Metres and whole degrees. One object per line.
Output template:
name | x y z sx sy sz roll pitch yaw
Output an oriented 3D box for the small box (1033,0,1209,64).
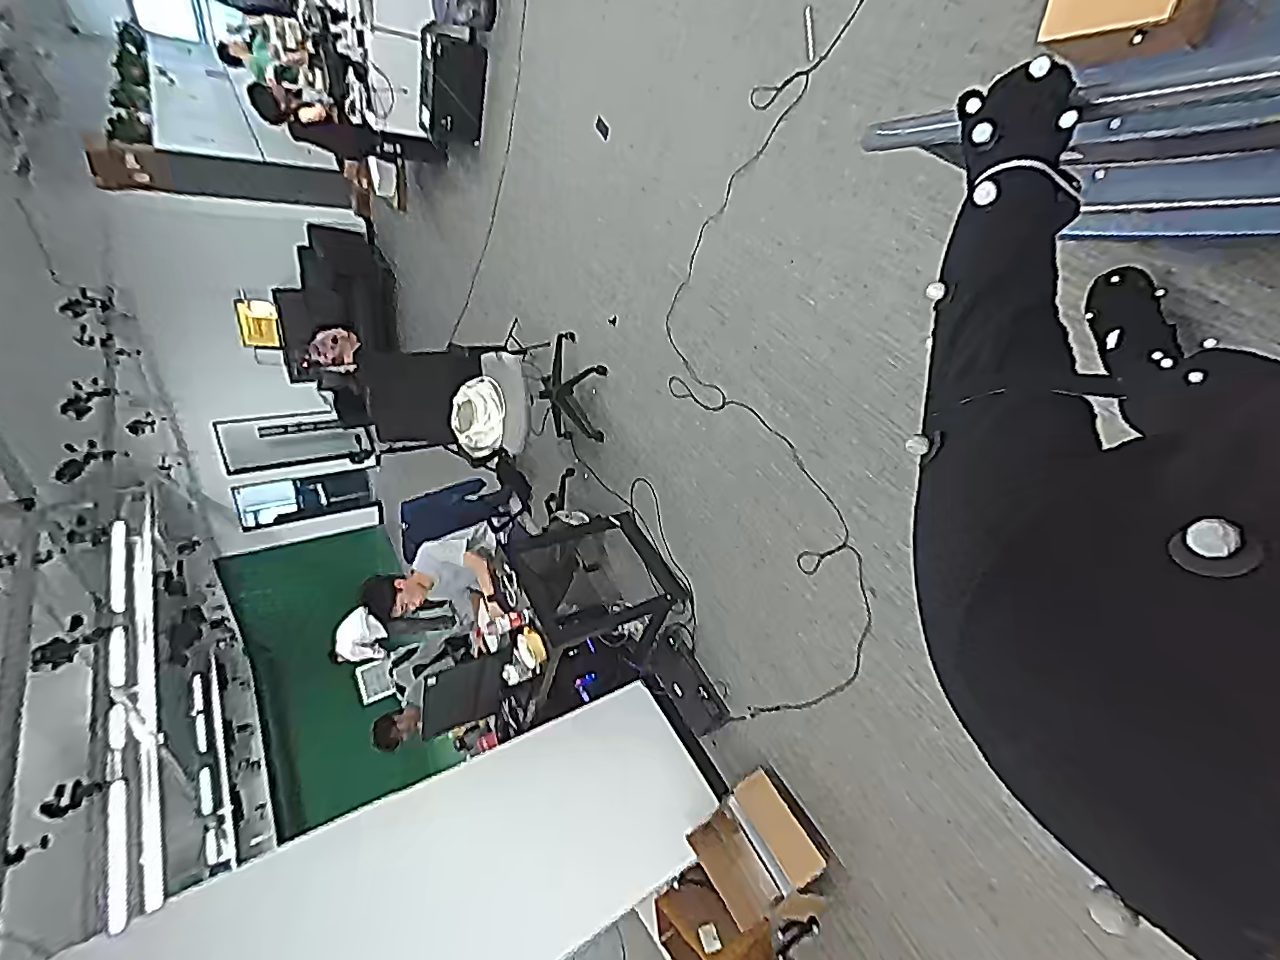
small box | 0.773 -0.783 0.849 0.179 0.176 0.168 31 125 44
